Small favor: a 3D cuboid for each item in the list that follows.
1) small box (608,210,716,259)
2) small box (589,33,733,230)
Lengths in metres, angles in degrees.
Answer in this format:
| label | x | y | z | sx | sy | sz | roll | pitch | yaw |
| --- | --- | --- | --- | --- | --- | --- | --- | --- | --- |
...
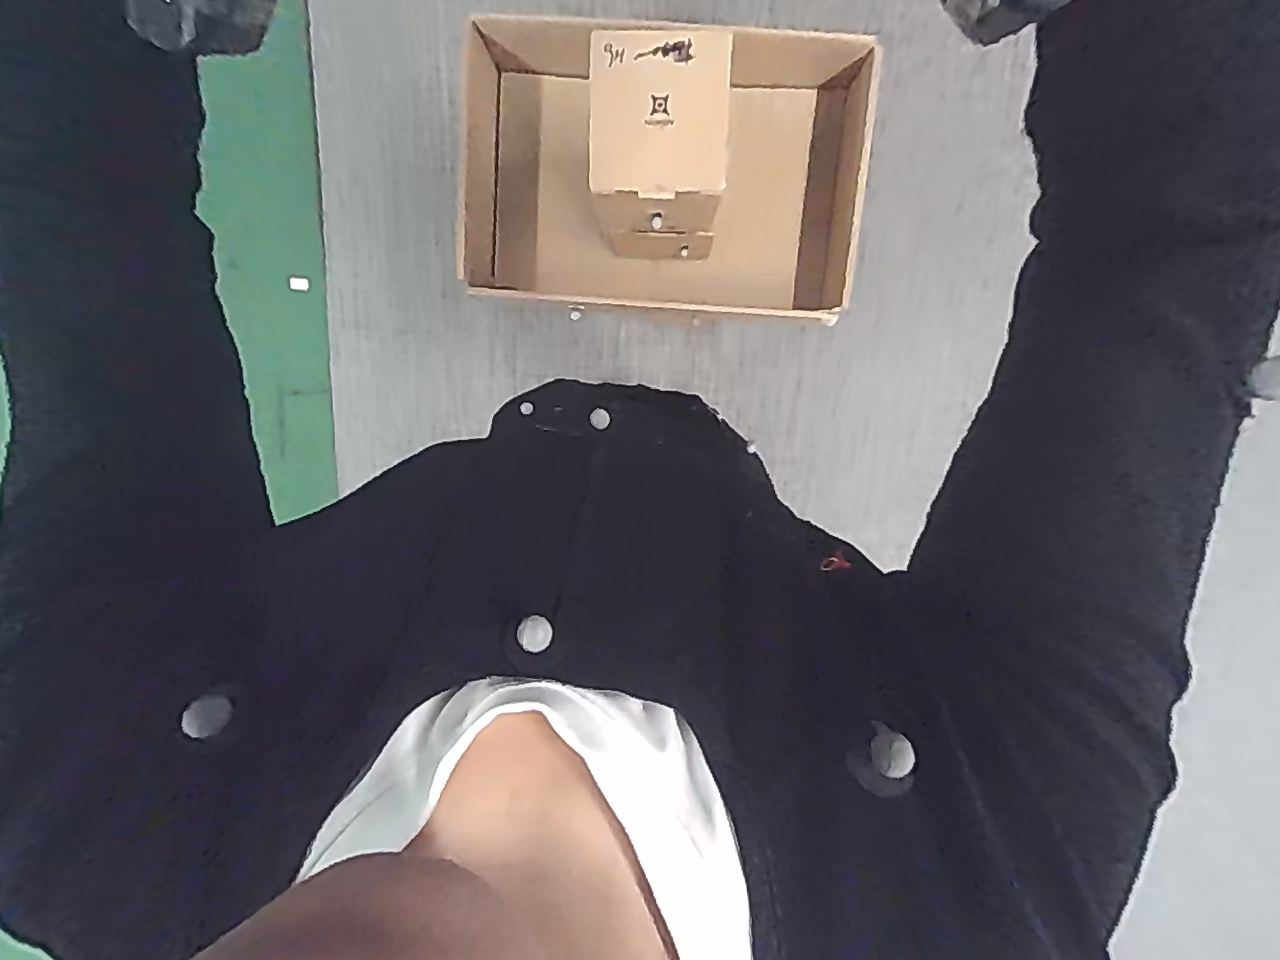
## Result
| label | x | y | z | sx | sy | sz | roll | pitch | yaw |
| --- | --- | --- | --- | --- | --- | --- | --- | --- | --- |
| small box | 0.040 | -0.469 | 0.880 | 0.168 | 0.176 | 0.179 | 2 | 98 | 2 |
| small box | 0.026 | -0.445 | 0.718 | 0.168 | 0.176 | 0.179 | 2 | 101 | 1 |
